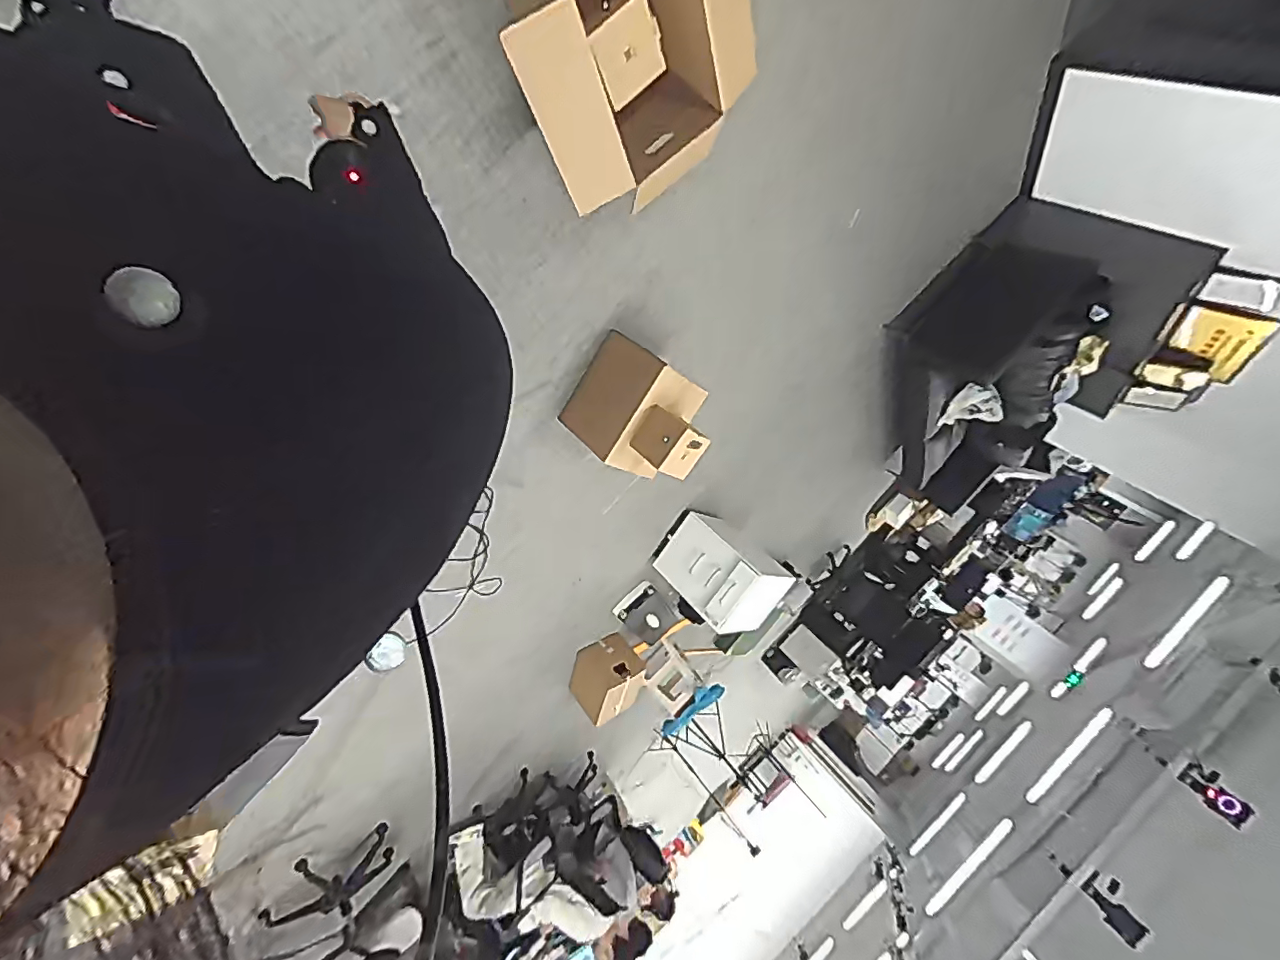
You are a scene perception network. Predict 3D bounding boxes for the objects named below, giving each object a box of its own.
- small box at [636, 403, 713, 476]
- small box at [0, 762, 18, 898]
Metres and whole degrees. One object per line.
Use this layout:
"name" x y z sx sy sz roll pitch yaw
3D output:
"small box" 0.117 -0.144 1.903 0.168 0.176 0.179 18 110 -52
"small box" -0.894 0.459 0.633 0.179 0.176 0.168 -43 147 -5
